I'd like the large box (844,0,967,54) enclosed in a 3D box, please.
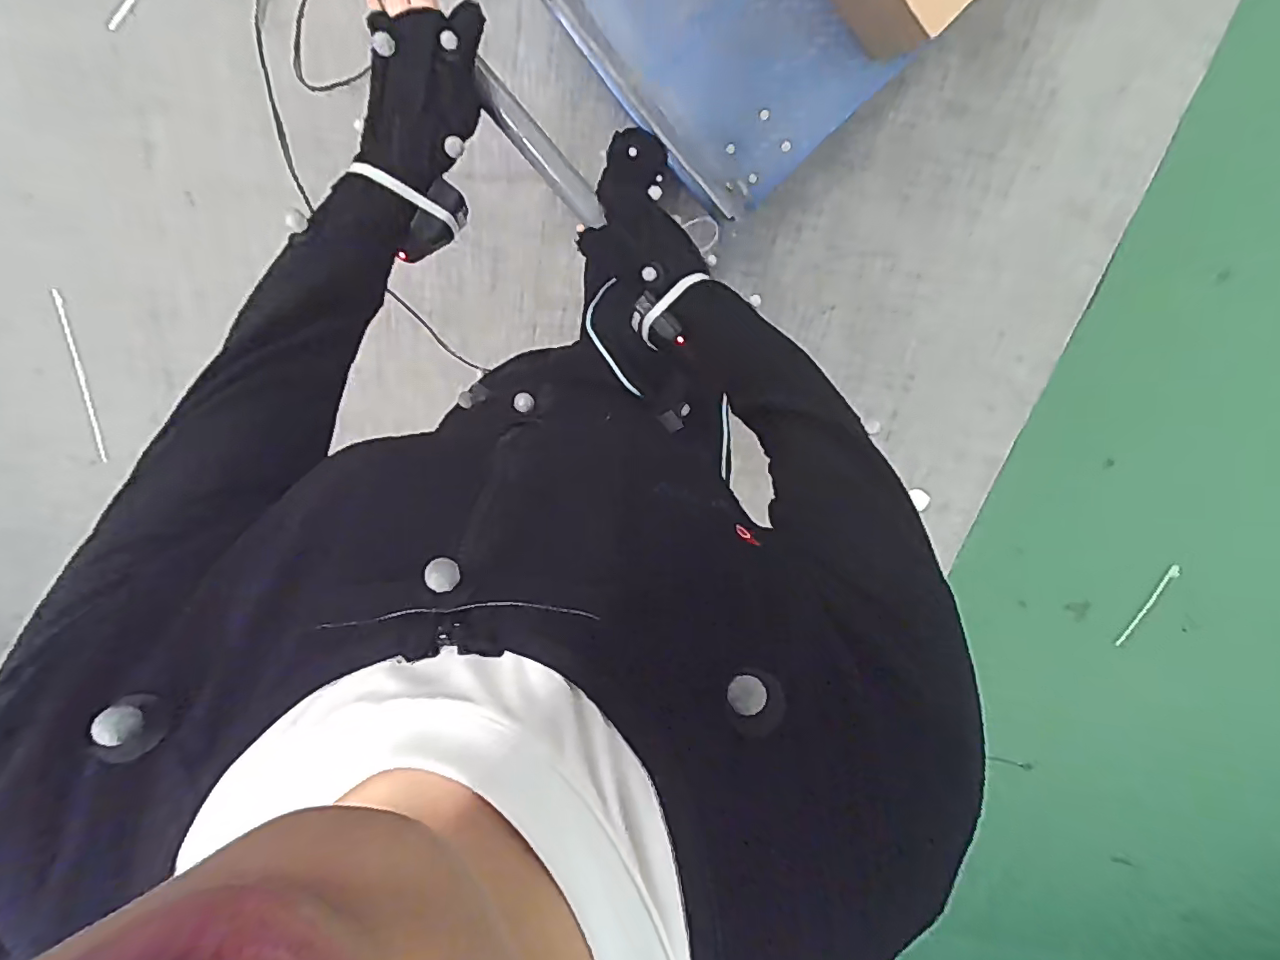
[{"bbox_3d":[0.368,-0.879,0.712,0.408,0.320,0.320,41,120,-16],"label":"large box"}]
